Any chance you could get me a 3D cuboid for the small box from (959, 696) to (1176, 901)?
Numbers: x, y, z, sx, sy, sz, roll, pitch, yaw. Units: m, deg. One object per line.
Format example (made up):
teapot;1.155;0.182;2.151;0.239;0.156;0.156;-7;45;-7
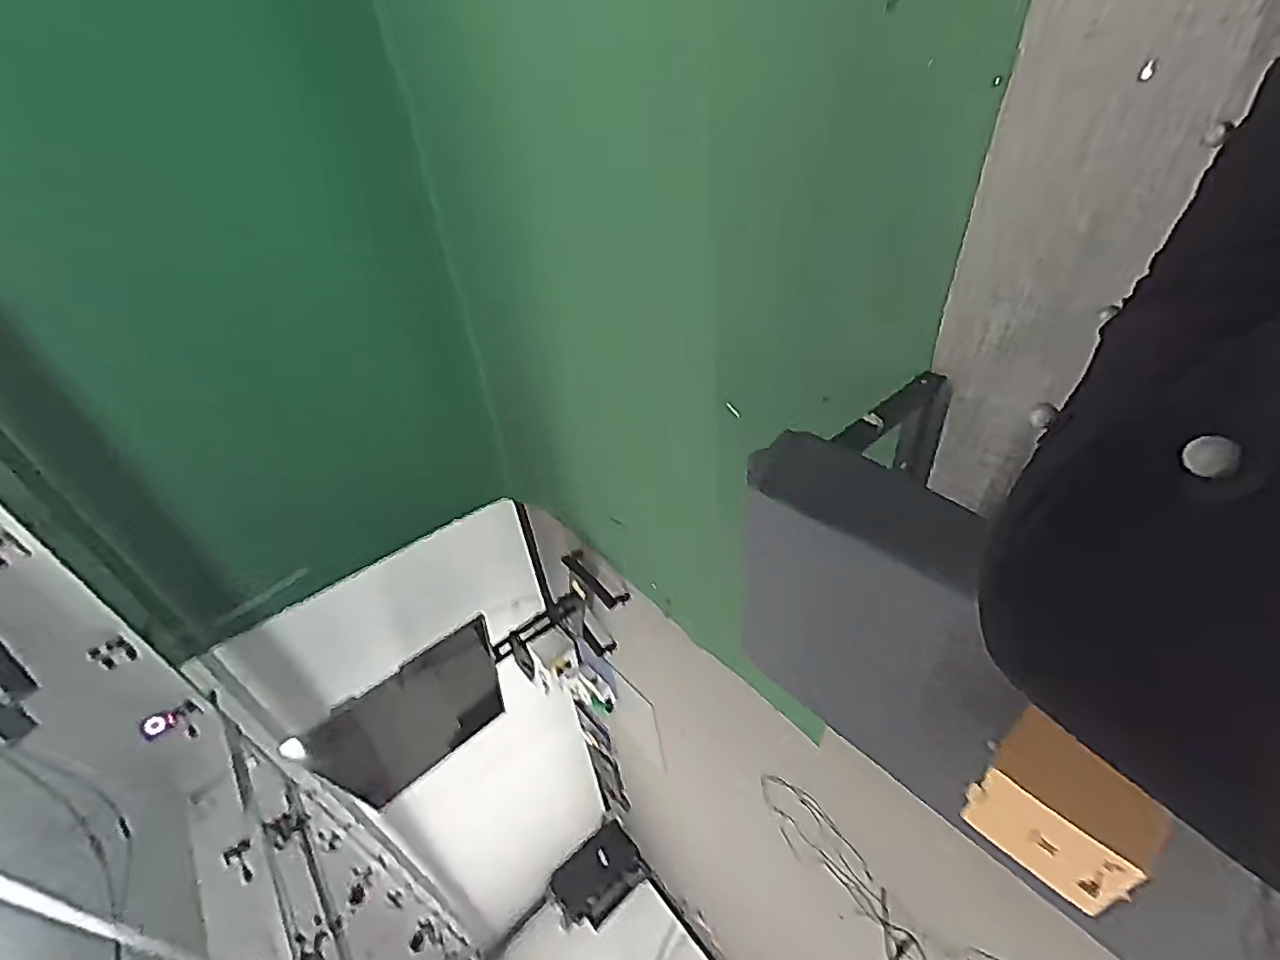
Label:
small box;0.616;0.449;0.792;0.179;0.176;0.168;34;144;40
